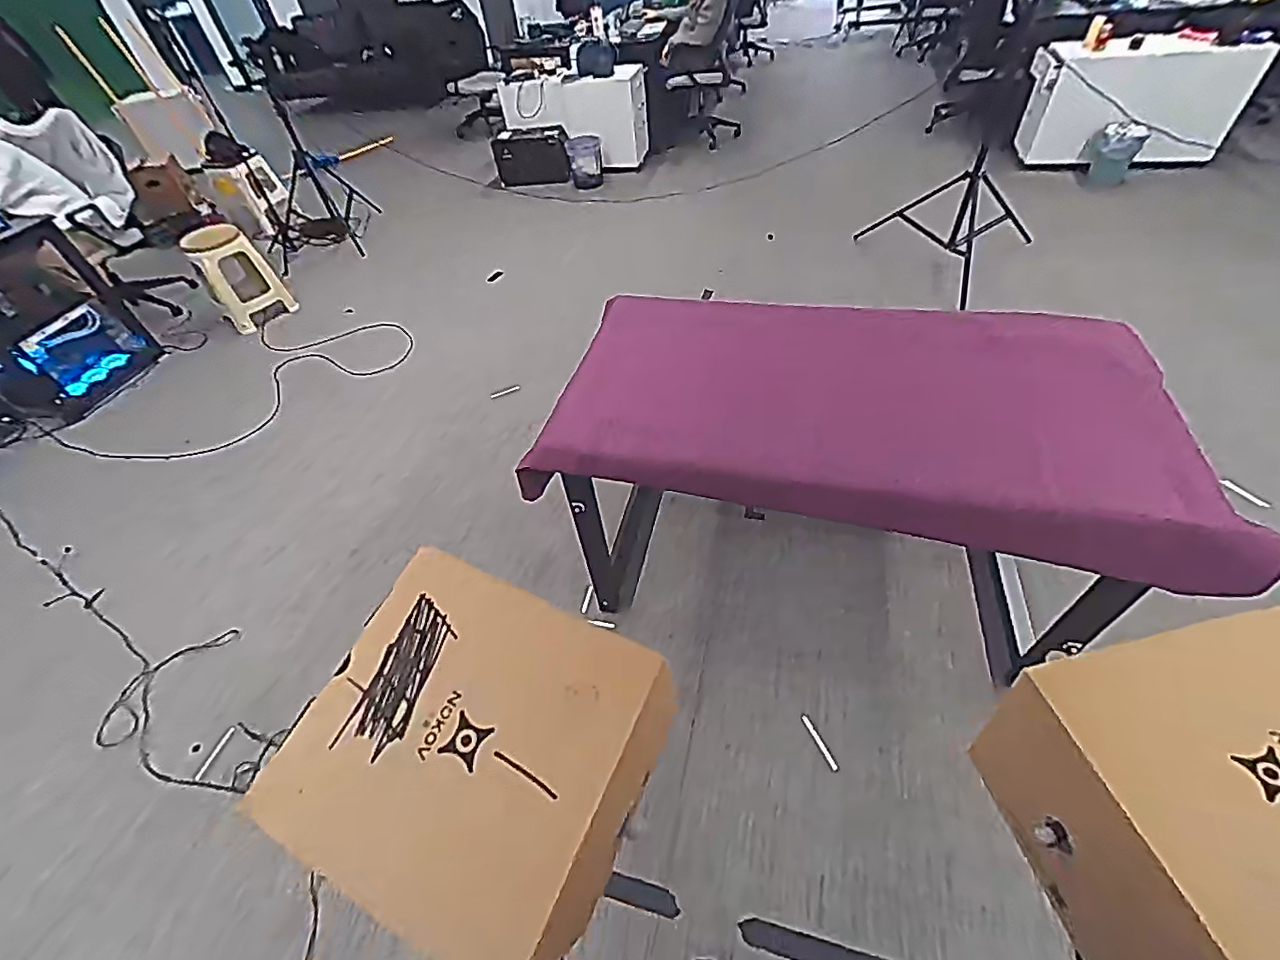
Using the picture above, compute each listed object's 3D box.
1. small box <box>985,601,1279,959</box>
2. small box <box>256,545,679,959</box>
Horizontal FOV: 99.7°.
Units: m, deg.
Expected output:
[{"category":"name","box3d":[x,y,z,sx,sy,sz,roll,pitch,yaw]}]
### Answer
[{"category":"small box","box3d":[0.356,0.207,0.344,0.179,0.176,0.168,-15,46,2]},{"category":"small box","box3d":[-0.085,0.174,0.361,0.179,0.176,0.168,21,64,17]}]
